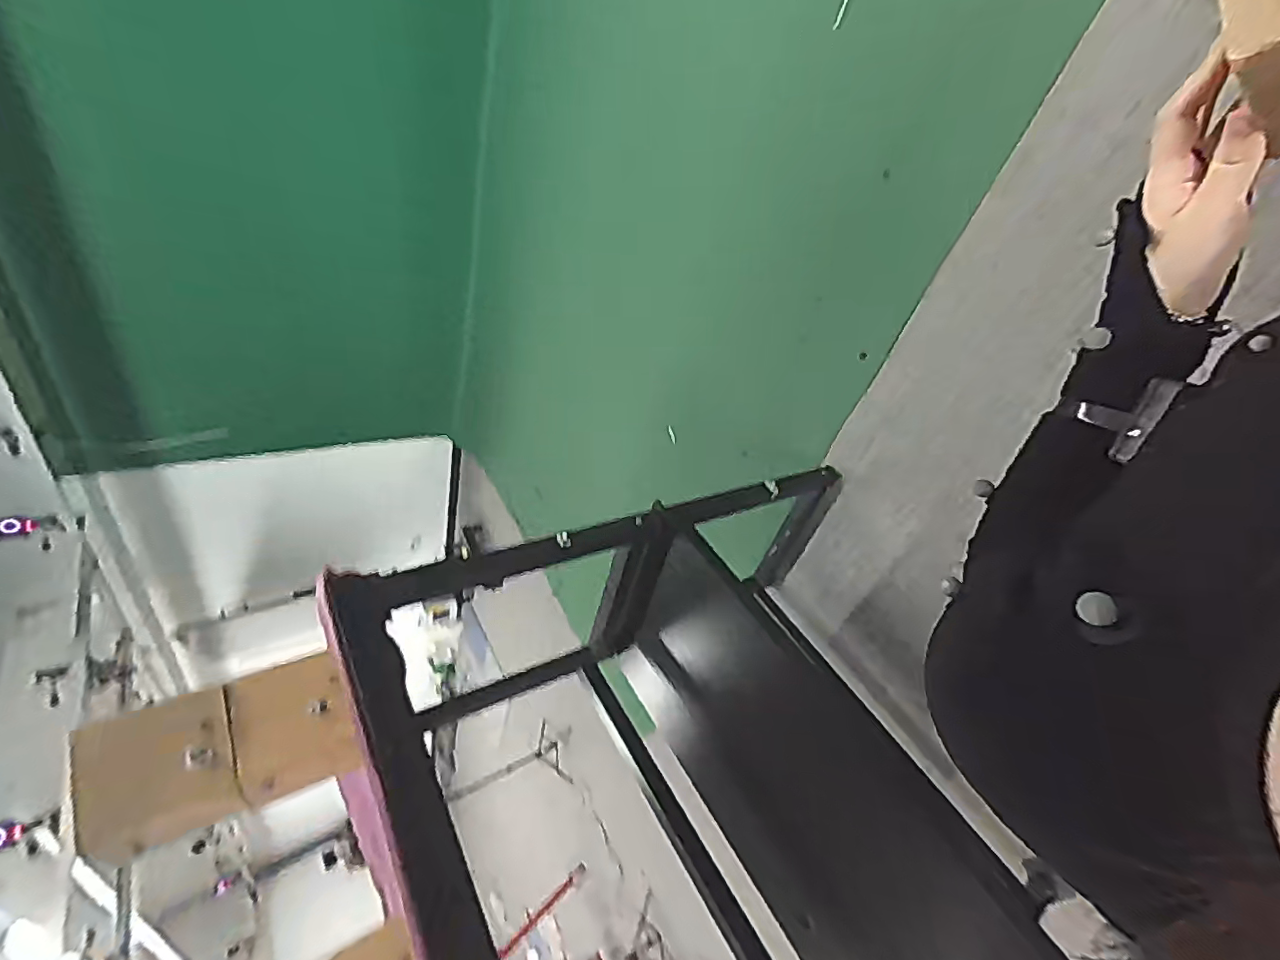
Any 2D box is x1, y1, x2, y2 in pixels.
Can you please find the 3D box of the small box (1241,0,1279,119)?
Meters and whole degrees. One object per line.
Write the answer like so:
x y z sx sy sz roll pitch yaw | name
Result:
0.348 -0.272 0.202 0.168 0.176 0.179 -8 92 54 | small box

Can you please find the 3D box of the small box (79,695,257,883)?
-0.669 0.444 0.787 0.168 0.176 0.179 58 138 23 | small box

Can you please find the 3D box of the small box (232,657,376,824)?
-0.543 0.421 0.886 0.168 0.176 0.179 57 139 26 | small box
